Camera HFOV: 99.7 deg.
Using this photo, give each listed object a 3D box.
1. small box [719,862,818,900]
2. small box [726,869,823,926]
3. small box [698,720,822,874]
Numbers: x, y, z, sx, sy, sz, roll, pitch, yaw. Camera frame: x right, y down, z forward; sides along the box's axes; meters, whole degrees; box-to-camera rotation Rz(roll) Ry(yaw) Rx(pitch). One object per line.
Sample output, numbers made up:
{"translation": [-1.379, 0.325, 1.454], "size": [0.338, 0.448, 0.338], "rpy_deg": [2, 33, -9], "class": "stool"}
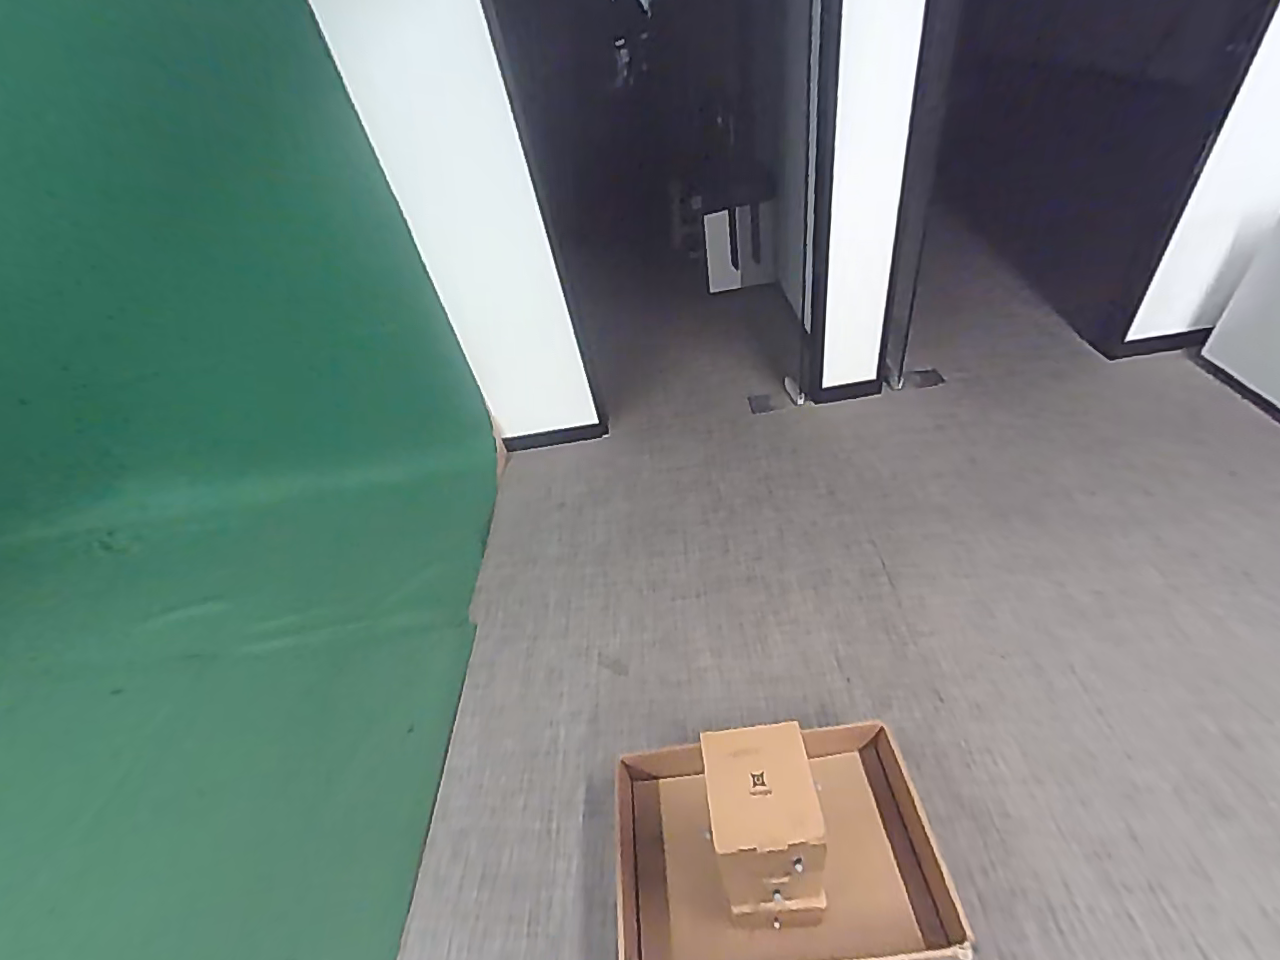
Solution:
{"translation": [0.228, 0.662, 1.015], "size": [0.168, 0.176, 0.179], "rpy_deg": [-12, 40, 4], "class": "small box"}
{"translation": [0.264, 0.789, 1.105], "size": [0.179, 0.176, 0.168], "rpy_deg": [-9, 40, 8], "class": "small box"}
{"translation": [0.194, 0.528, 0.895], "size": [0.168, 0.176, 0.179], "rpy_deg": [-9, 39, 4], "class": "small box"}
